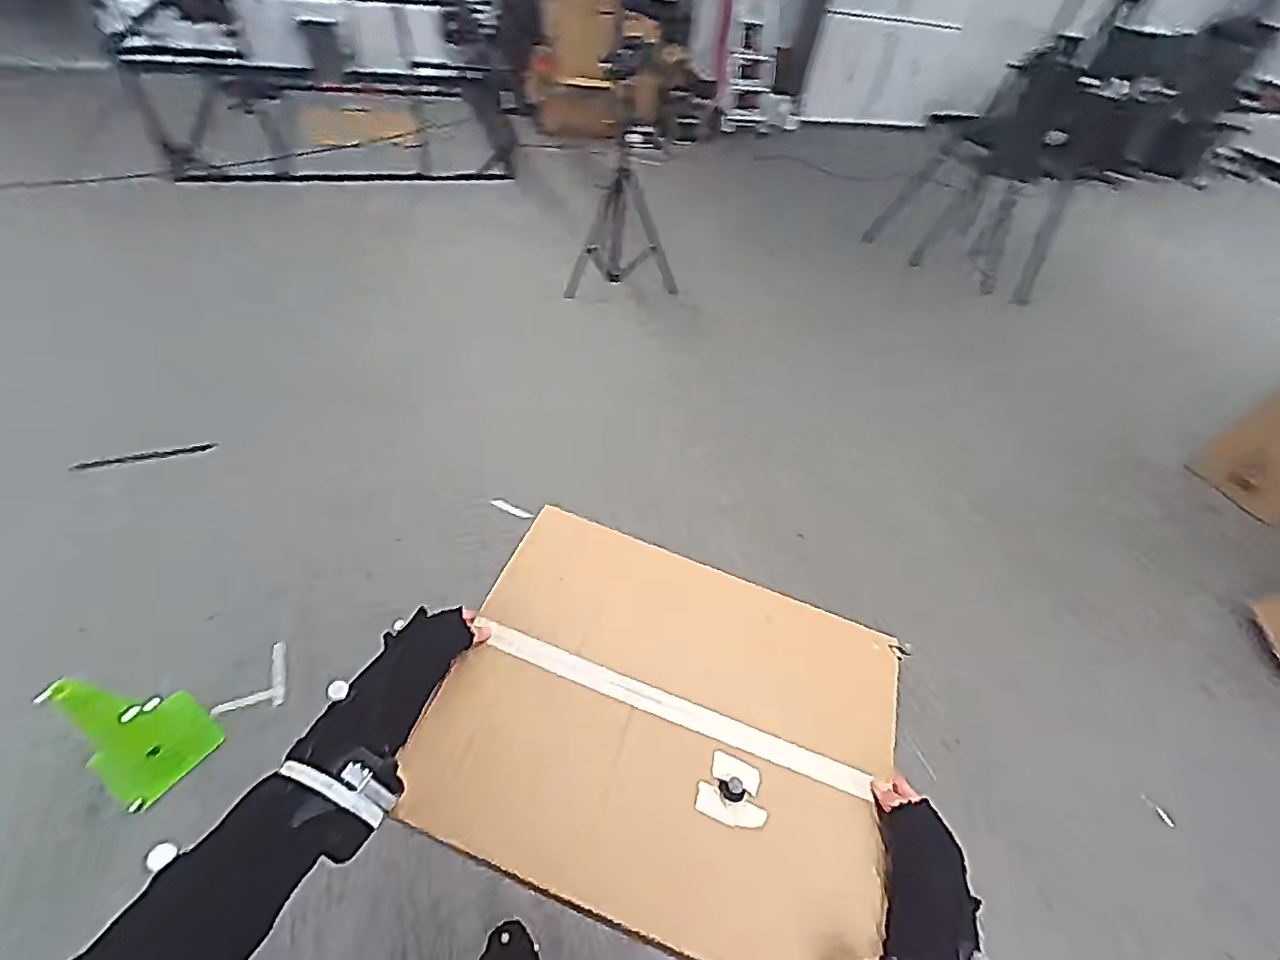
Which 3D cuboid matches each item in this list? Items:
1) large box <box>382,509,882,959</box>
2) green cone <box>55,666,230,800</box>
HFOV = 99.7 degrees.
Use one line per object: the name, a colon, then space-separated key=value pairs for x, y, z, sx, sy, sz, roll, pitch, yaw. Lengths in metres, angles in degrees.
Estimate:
large box: x=0.003 y=0.295 z=0.615 sx=0.408 sy=0.320 sz=0.320 roll=20 pitch=52 yaw=5
green cone: x=-1.094 y=0.492 z=1.150 sx=0.202 sy=0.368 sz=0.200 roll=28 pitch=48 yaw=18
